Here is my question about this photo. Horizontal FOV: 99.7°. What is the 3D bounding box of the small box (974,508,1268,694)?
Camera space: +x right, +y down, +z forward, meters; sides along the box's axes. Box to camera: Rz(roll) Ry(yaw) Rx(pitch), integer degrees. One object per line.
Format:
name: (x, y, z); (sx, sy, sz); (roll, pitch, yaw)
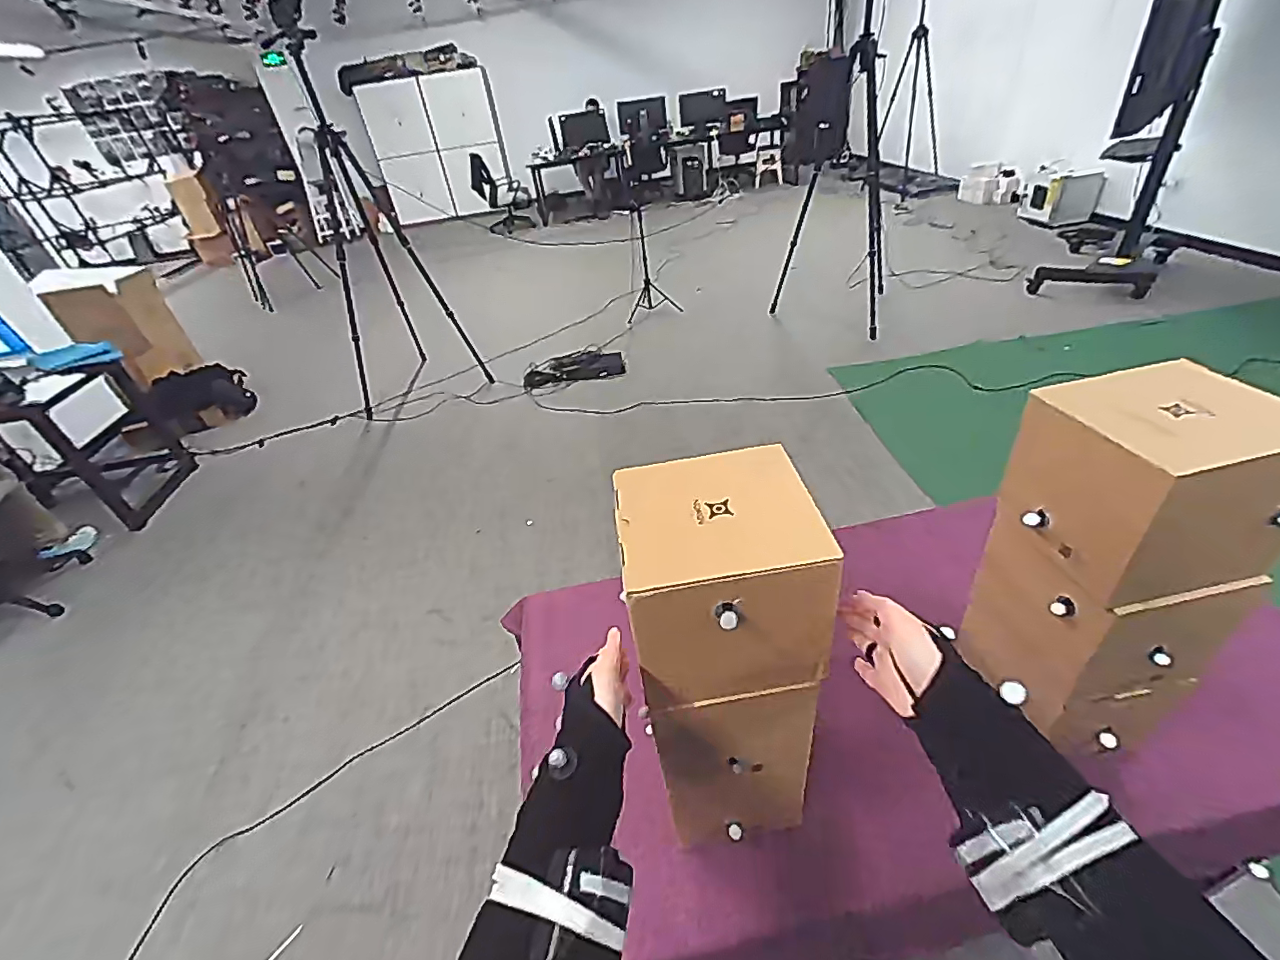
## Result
small box: (0.544, 0.133, 0.647); (0.168, 0.176, 0.179); (-11, 37, -3)

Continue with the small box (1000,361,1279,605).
small box: (0.517, 0.002, 0.554); (0.179, 0.176, 0.168); (-12, 36, -2)

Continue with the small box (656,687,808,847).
small box: (0.112, 0.353, 0.726); (0.168, 0.176, 0.179); (-10, 38, -1)

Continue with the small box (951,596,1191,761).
small box: (0.569, 0.263, 0.746); (0.168, 0.176, 0.179); (-11, 37, -2)

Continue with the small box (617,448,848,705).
small box: (0.079, 0.094, 0.529); (0.179, 0.176, 0.168); (-10, 38, 0)
